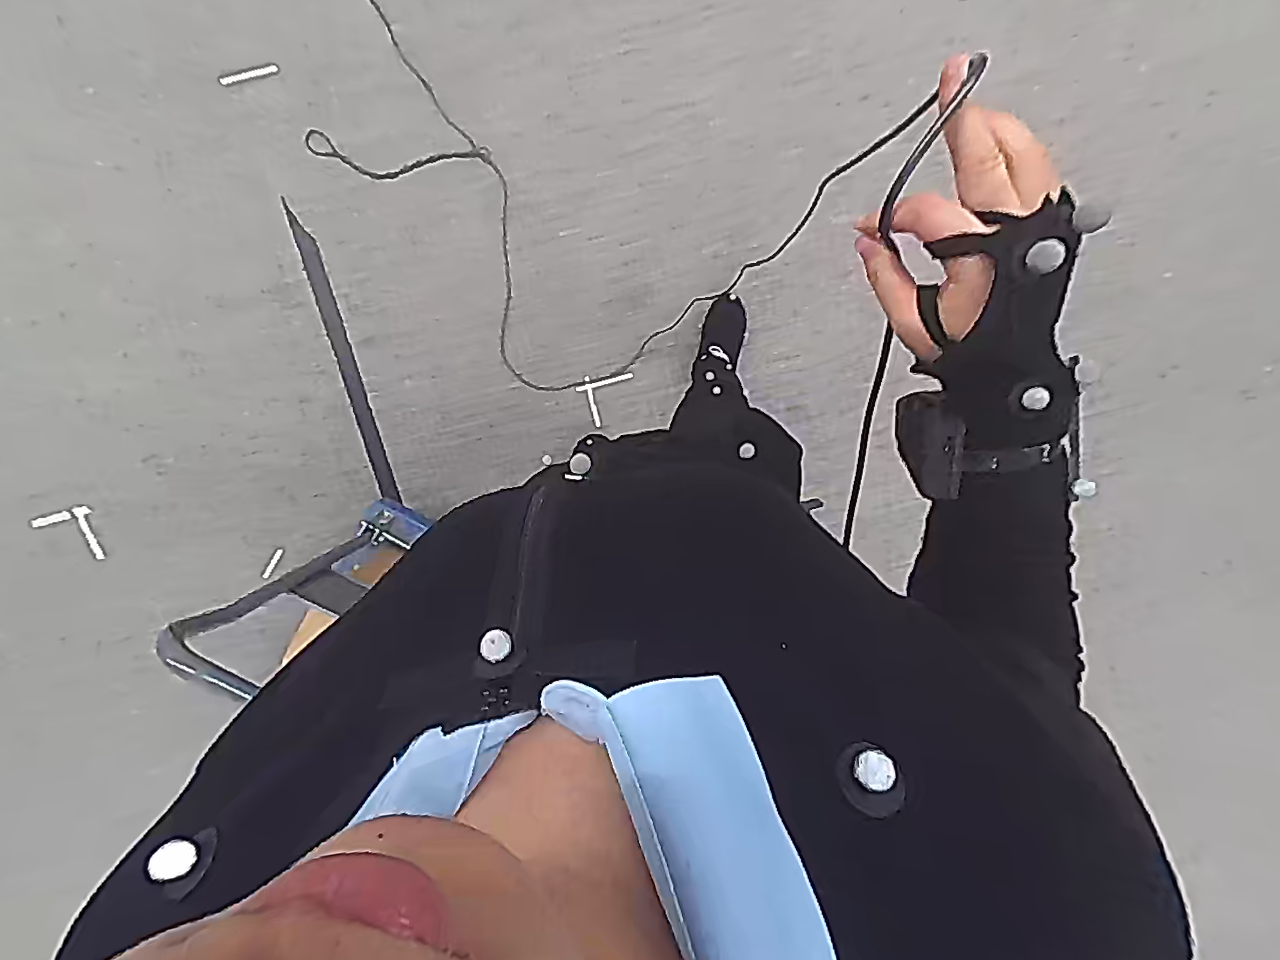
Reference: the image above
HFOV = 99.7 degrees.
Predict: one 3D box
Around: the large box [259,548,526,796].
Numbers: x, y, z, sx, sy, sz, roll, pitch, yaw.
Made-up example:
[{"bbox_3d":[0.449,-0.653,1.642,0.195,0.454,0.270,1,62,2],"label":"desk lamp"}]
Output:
[{"bbox_3d":[-0.531,0.417,1.240,0.408,0.320,0.320,31,100,-6],"label":"large box"}]
